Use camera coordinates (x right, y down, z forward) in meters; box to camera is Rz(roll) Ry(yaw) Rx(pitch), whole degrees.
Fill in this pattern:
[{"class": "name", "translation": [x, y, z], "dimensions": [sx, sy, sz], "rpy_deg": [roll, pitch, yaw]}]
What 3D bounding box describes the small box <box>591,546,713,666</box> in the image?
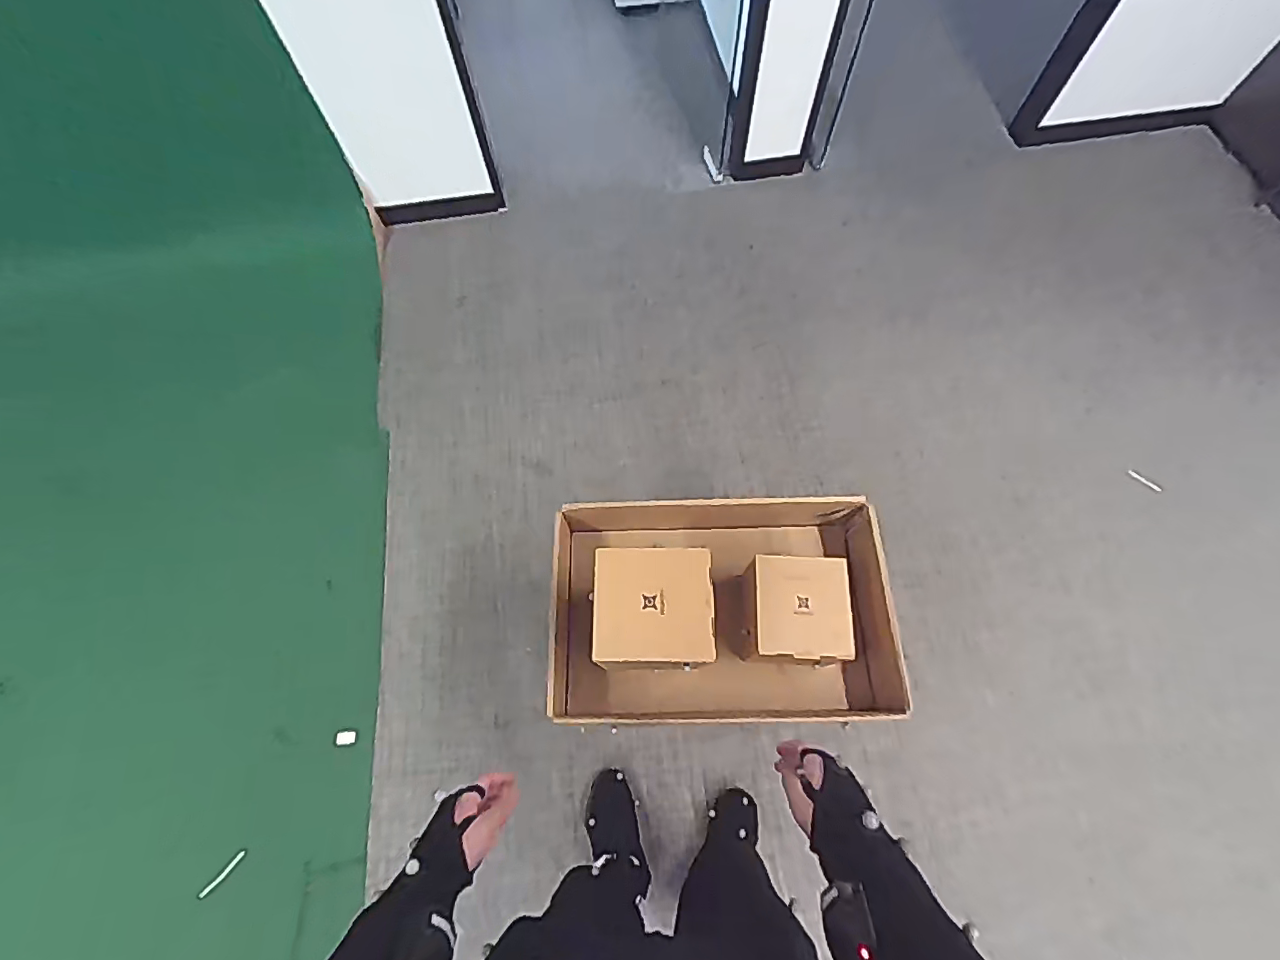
[{"class": "small box", "translation": [0.021, 0.208, 0.869], "dimensions": [0.179, 0.176, 0.168], "rpy_deg": [-1, 68, 1]}]
